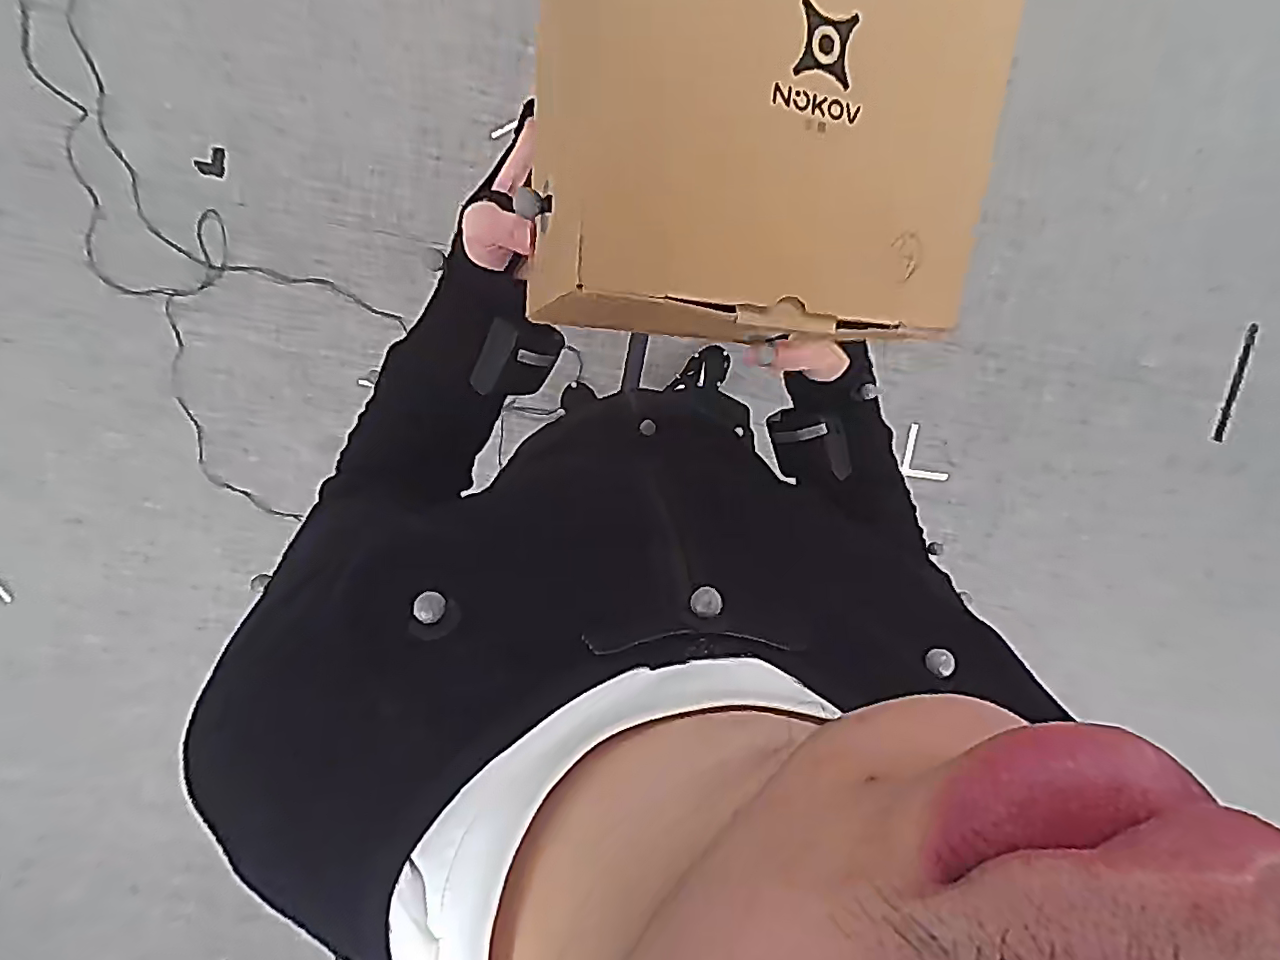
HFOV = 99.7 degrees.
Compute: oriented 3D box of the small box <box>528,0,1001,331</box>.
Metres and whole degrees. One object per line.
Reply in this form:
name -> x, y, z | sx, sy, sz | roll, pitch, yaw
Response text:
small box -> 0.037, -0.172, 0.274 | 0.168, 0.176, 0.179 | 0, 102, -19
